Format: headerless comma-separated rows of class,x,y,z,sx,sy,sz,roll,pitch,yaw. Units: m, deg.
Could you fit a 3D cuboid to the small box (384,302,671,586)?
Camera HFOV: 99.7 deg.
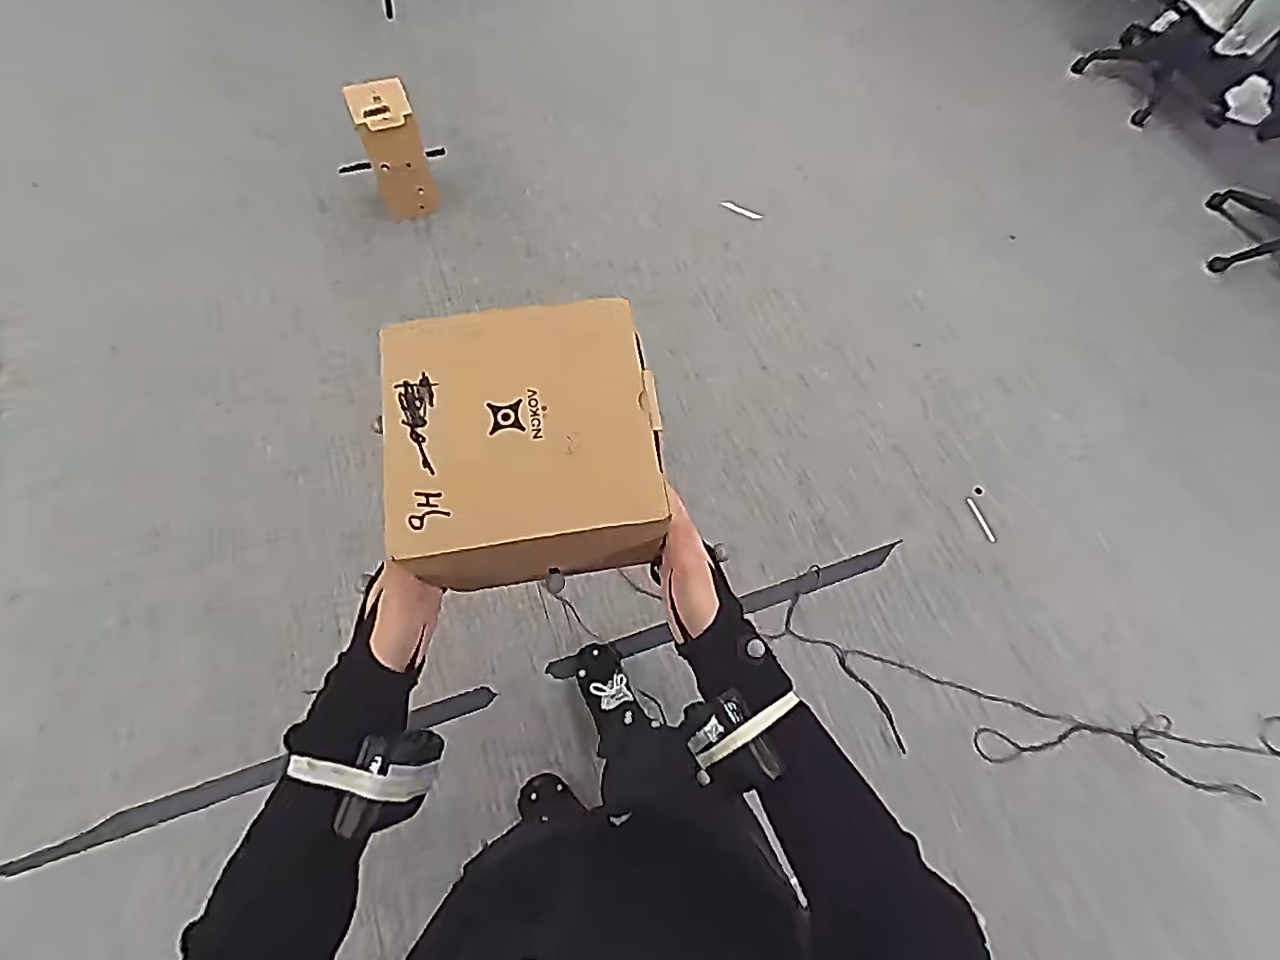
small box,-0.084,-0.017,0.430,0.179,0.176,0.168,-7,72,-7

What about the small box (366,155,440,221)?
small box,-0.785,-0.992,1.797,0.168,0.176,0.179,-21,70,-14

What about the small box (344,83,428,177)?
small box,-0.766,-1.055,1.646,0.168,0.176,0.179,-20,71,-13
